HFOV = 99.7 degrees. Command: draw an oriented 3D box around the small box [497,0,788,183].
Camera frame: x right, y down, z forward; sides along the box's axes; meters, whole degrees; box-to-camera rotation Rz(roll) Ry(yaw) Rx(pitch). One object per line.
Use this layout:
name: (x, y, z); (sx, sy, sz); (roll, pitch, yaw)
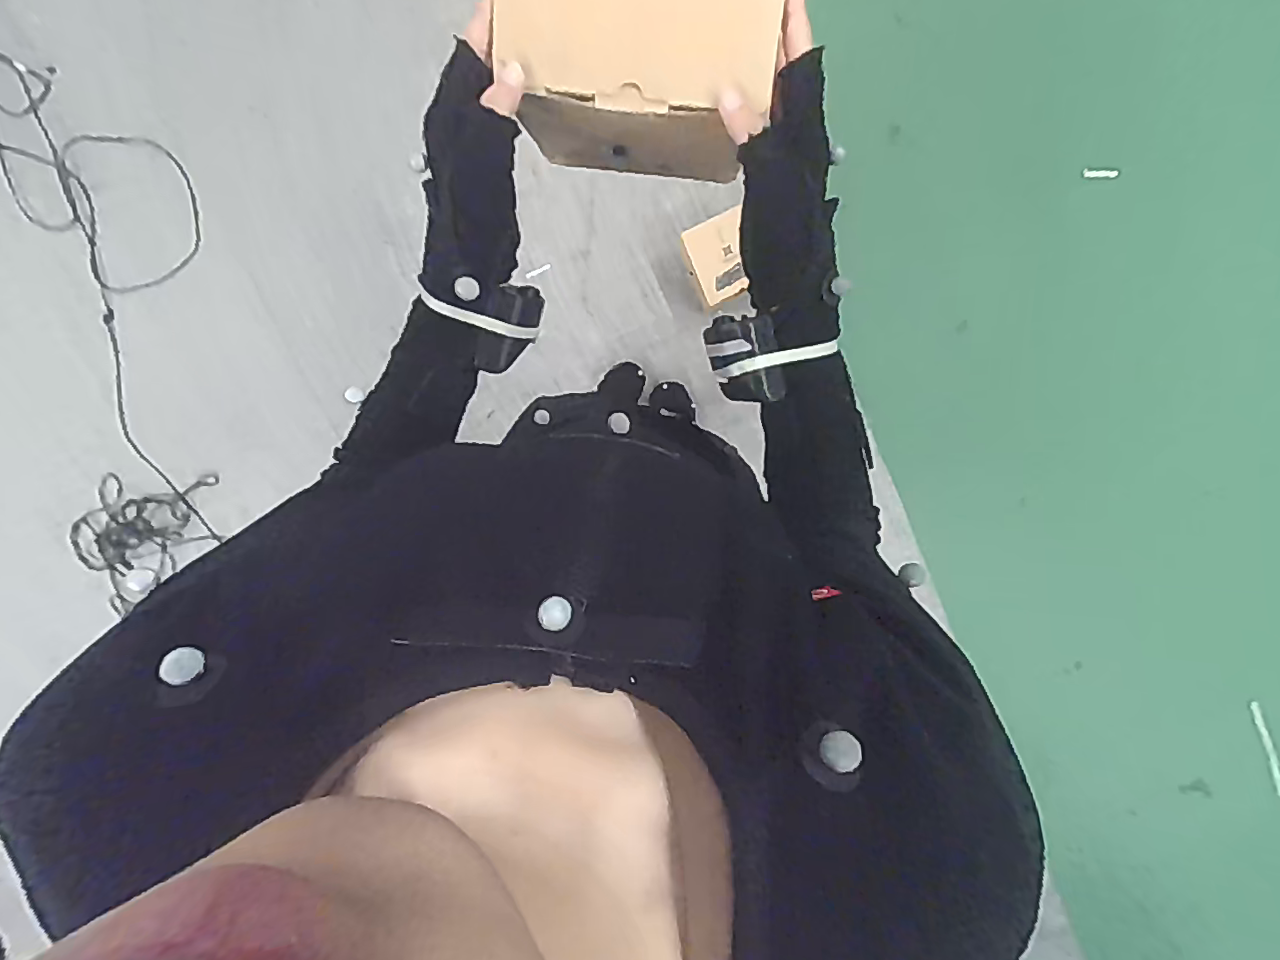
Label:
small box: (0.007, -0.328, 0.373); (0.168, 0.176, 0.179); (6, 108, 0)

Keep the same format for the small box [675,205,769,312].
small box: (0.192, -0.517, 1.295); (0.168, 0.176, 0.179); (-23, 98, 8)
